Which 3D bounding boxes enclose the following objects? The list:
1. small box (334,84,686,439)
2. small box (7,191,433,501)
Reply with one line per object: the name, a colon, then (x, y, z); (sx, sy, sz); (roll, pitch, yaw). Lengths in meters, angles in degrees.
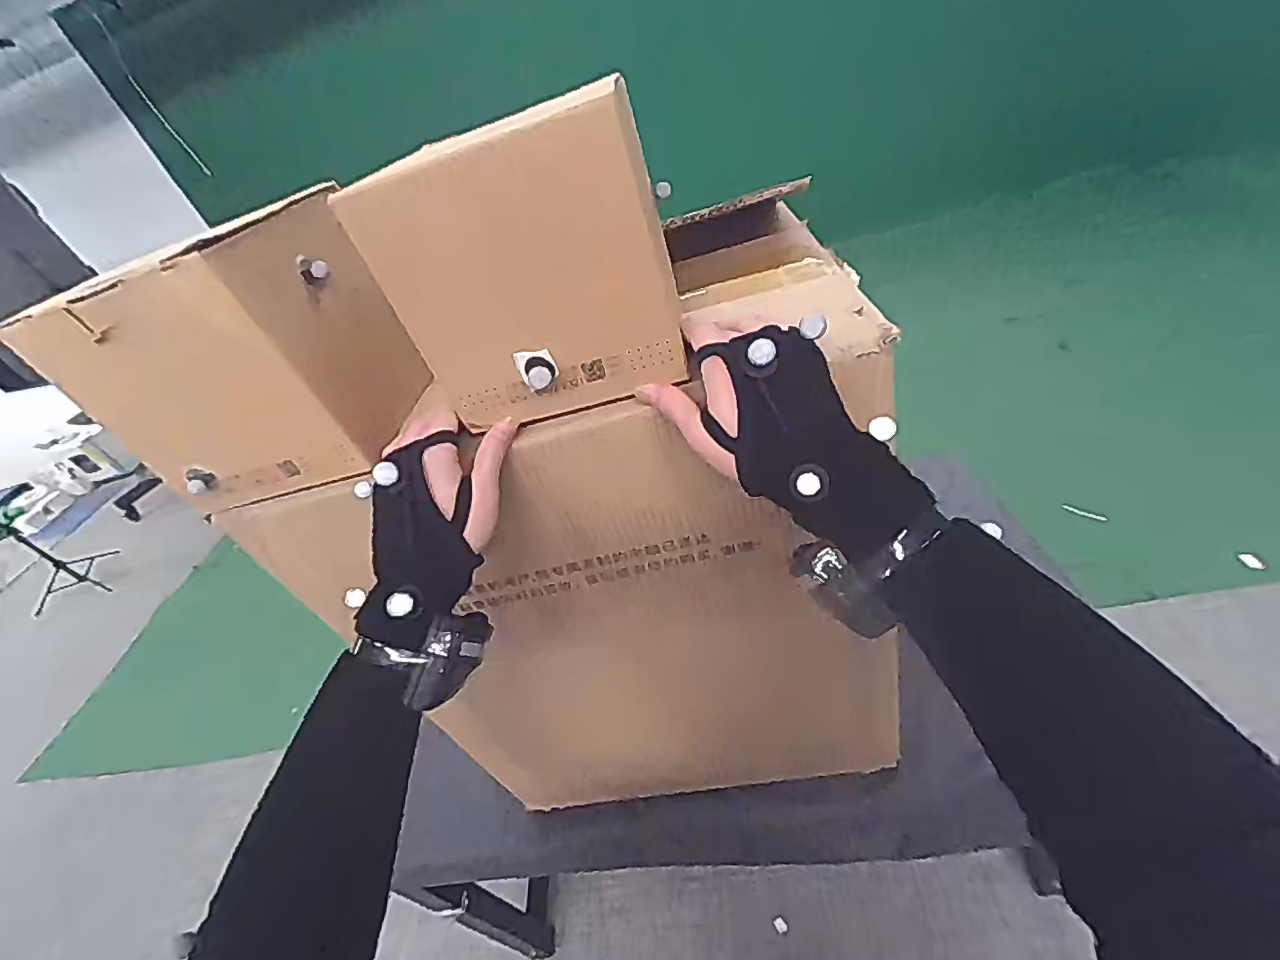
small box: (-0.069, -0.157, 0.395); (0.168, 0.176, 0.179); (-14, 39, 11)
small box: (-0.298, -0.100, 0.437); (0.168, 0.176, 0.179); (-13, 38, 12)
